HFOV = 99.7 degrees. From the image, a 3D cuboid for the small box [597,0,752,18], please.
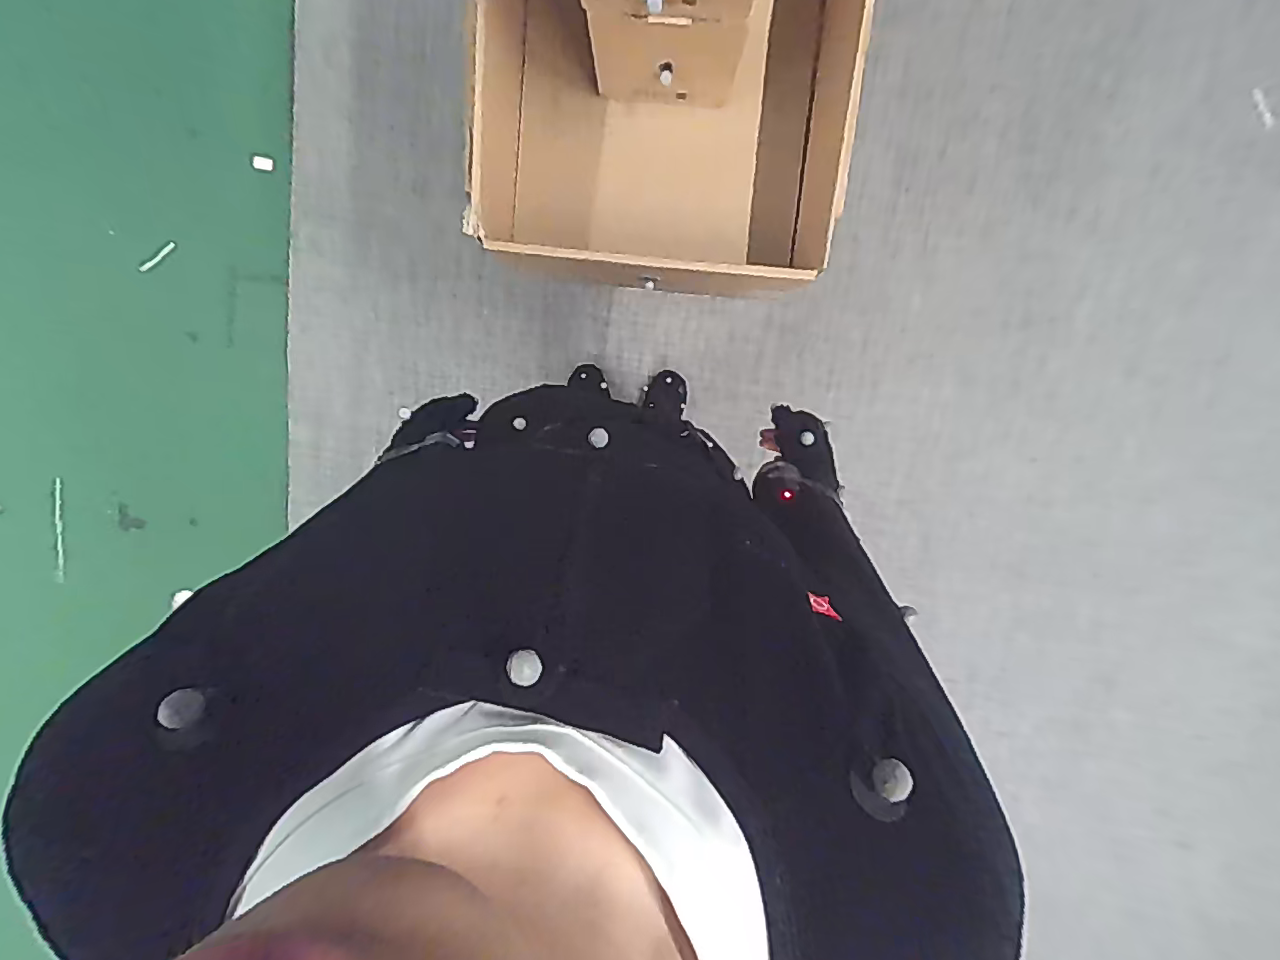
[{"bbox_3d":[0.030,-0.527,0.433,0.168,0.176,0.179,3,101,1],"label":"small box"}]
